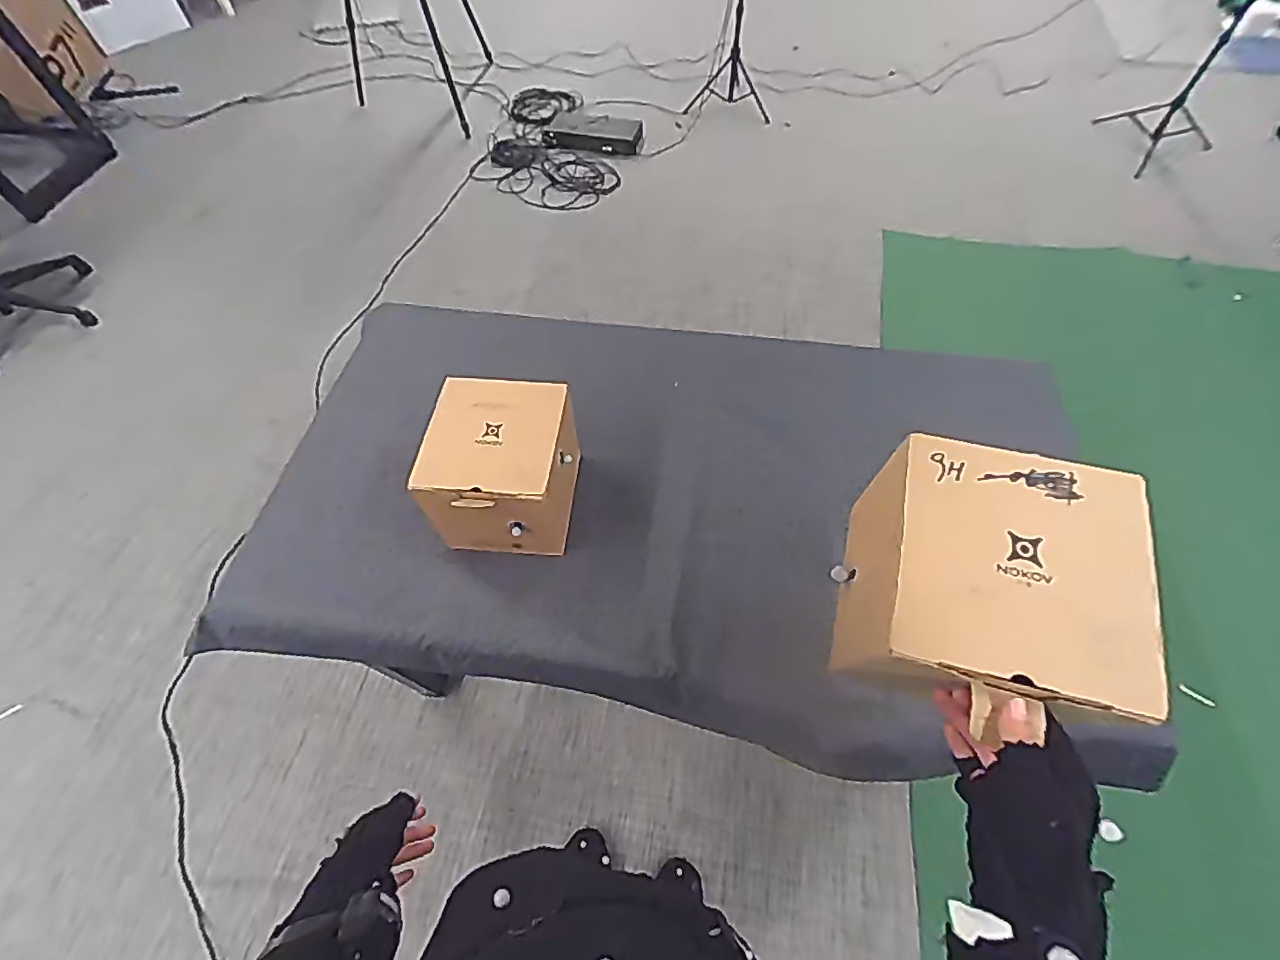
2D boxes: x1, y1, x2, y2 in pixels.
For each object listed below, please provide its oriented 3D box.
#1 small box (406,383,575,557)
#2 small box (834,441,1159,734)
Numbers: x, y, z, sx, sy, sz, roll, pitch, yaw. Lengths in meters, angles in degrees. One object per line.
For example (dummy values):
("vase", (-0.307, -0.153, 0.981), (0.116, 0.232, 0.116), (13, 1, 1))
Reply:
("small box", (-0.185, -0.008, 0.735), (0.168, 0.176, 0.179), (4, 57, 2))
("small box", (0.271, 0.095, 0.451), (0.168, 0.176, 0.179), (13, 68, 10))
